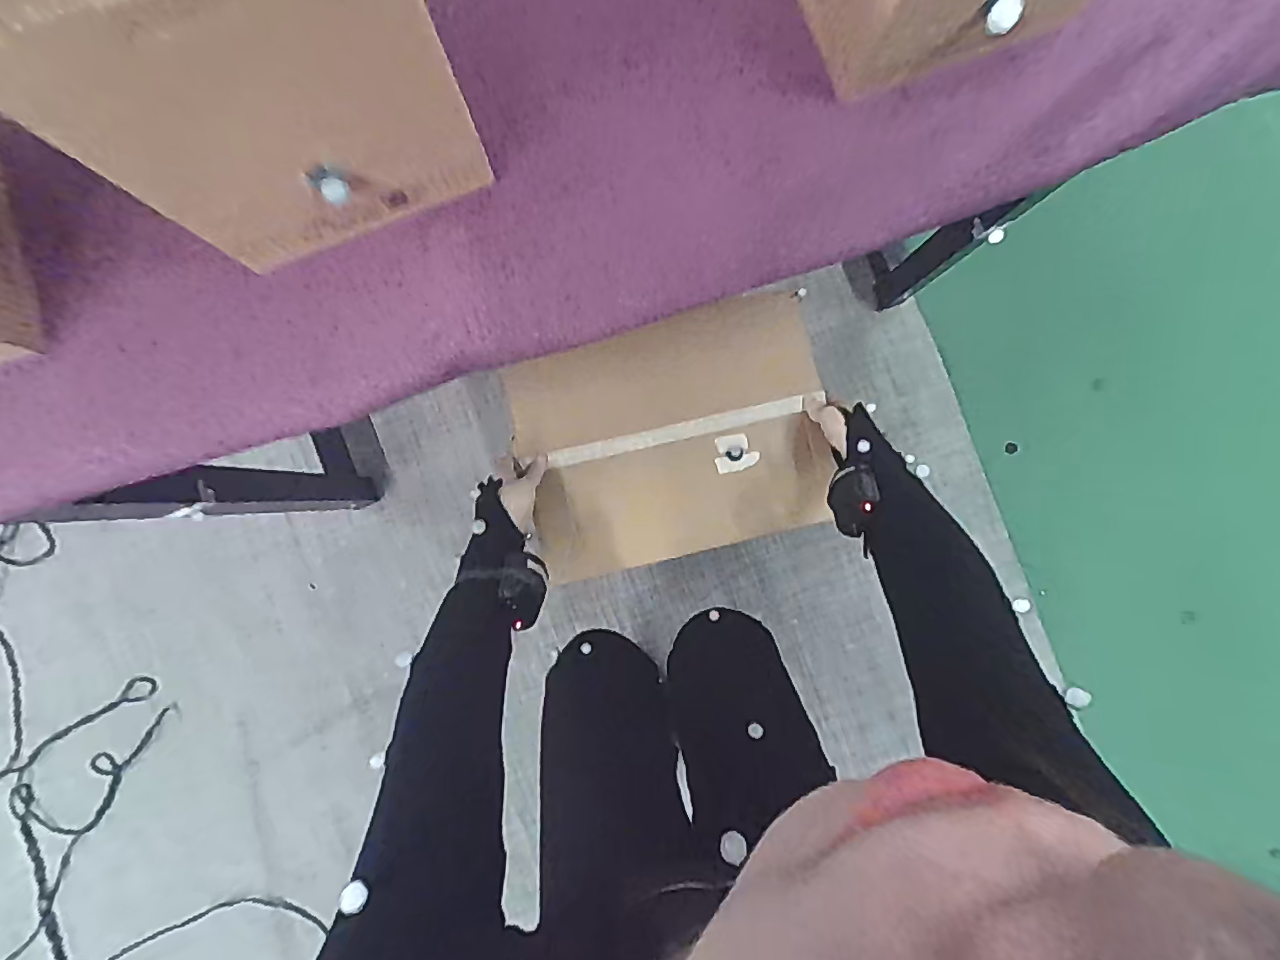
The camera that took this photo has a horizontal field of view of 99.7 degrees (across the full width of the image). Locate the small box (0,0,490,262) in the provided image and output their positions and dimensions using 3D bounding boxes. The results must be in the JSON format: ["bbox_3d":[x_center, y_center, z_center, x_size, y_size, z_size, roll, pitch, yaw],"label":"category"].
[{"bbox_3d":[-0.198,-0.248,0.272,0.168,0.176,0.179,-22,88,-1],"label":"small box"}]

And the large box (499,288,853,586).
[{"bbox_3d":[0.036,-0.046,0.834,0.408,0.320,0.320,-13,86,-6],"label":"large box"}]
